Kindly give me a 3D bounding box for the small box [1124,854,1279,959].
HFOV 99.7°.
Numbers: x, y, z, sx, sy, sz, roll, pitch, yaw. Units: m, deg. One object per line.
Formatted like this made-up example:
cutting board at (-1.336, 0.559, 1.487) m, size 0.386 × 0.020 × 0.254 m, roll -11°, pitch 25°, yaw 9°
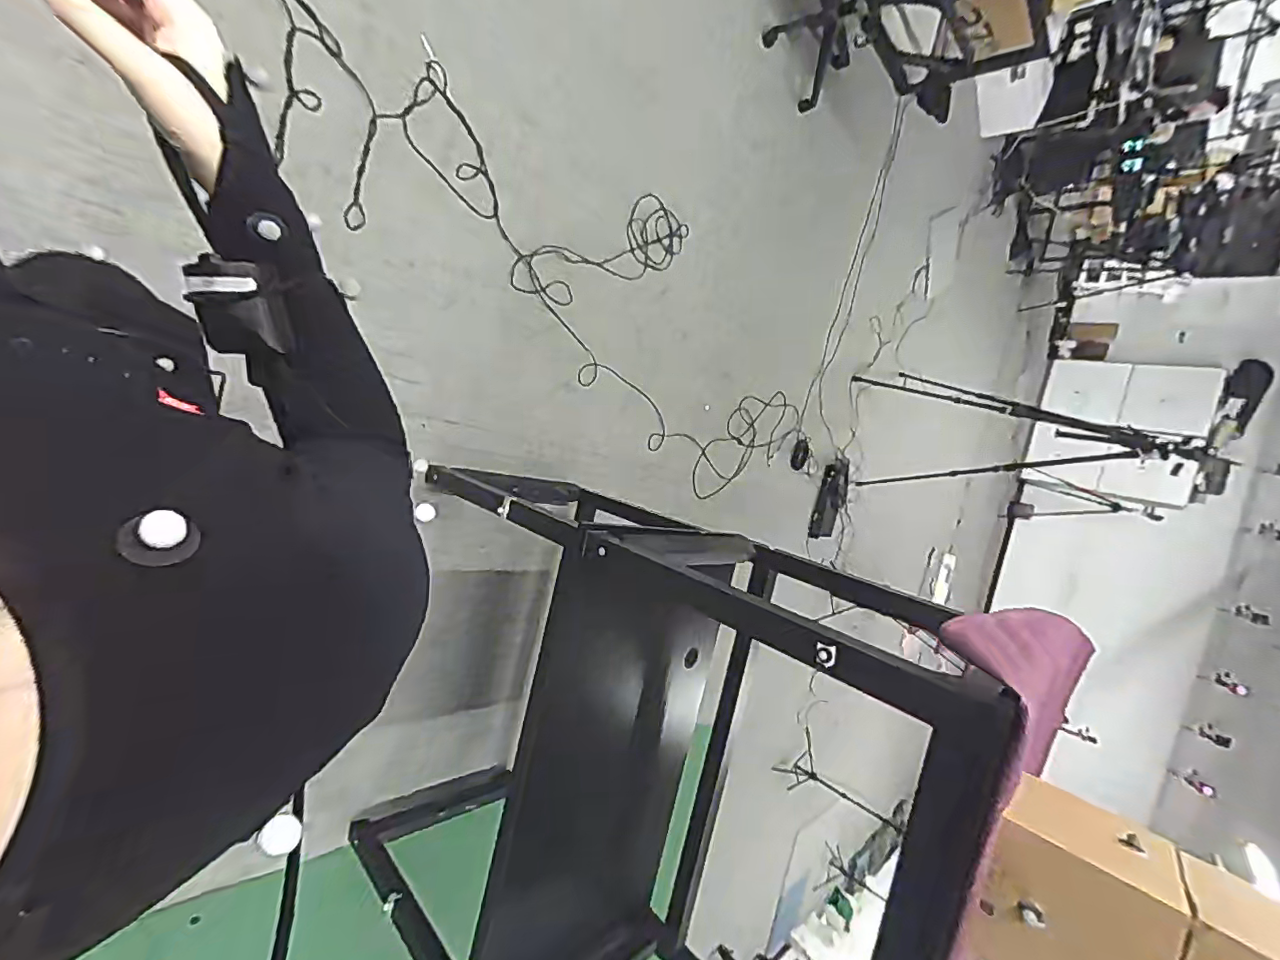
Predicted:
small box at (0.582, 0.529, 0.546) m, size 0.179 × 0.176 × 0.168 m, roll 12°, pitch 94°, yaw -49°
